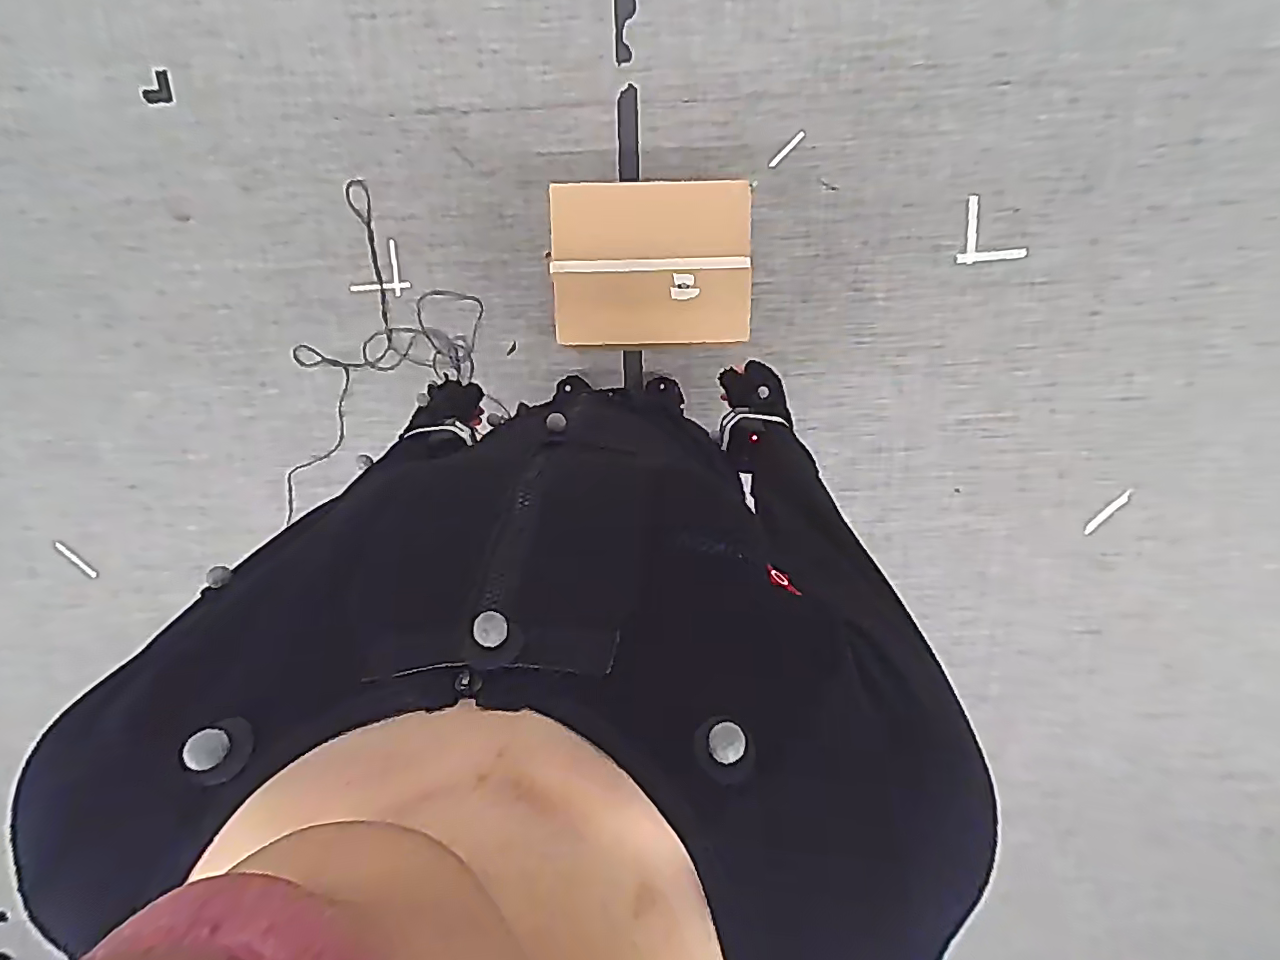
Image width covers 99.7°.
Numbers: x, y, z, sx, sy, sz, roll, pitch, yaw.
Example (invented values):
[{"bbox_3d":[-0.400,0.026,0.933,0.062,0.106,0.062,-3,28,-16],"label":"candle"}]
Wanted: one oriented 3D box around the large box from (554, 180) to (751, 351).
[{"bbox_3d":[0.026,-0.474,1.260,0.408,0.320,0.320,-1,102,0],"label":"large box"}]
